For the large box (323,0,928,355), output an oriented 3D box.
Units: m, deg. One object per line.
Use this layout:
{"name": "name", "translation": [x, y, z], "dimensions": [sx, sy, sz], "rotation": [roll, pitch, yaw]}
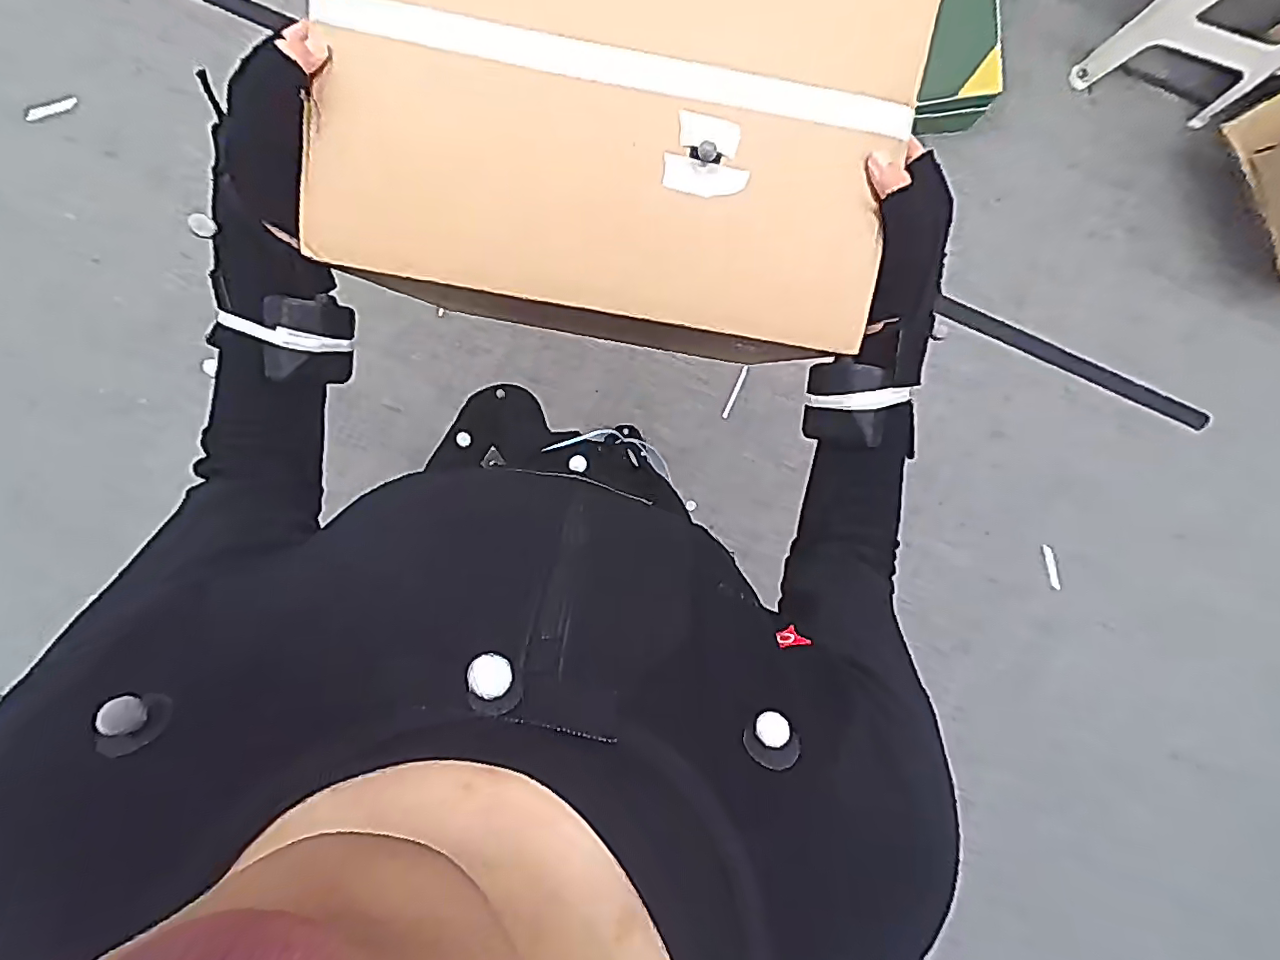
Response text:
{"name": "large box", "translation": [-0.017, -0.310, 0.519], "dimensions": [0.408, 0.320, 0.320], "rotation": [9, 101, -4]}
